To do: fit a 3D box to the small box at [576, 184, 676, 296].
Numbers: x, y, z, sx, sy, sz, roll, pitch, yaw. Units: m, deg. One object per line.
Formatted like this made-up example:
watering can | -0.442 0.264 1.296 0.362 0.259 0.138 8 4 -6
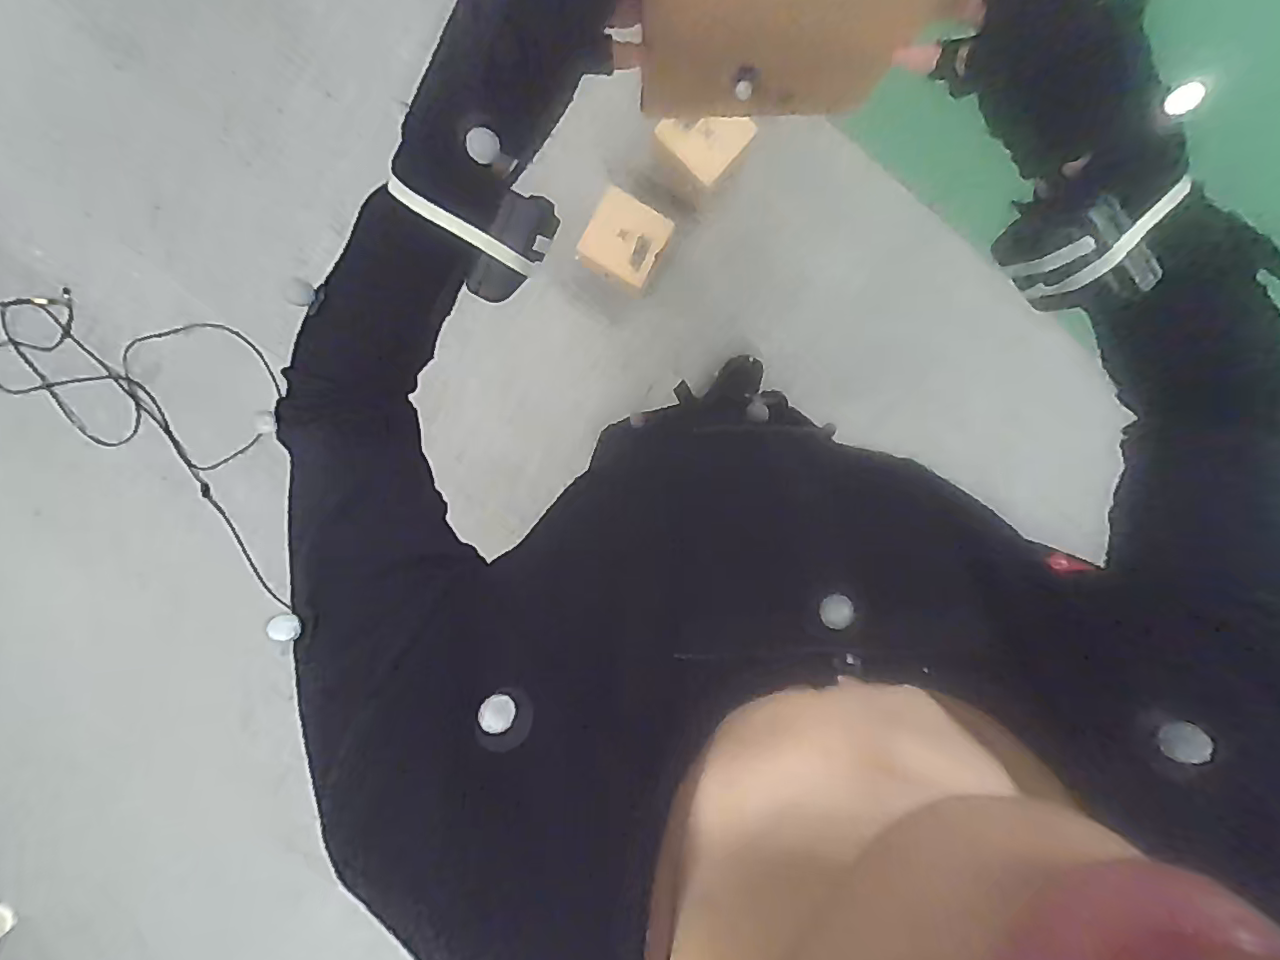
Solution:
small box | -0.029 -0.564 1.302 0.179 0.176 0.168 30 98 -3
